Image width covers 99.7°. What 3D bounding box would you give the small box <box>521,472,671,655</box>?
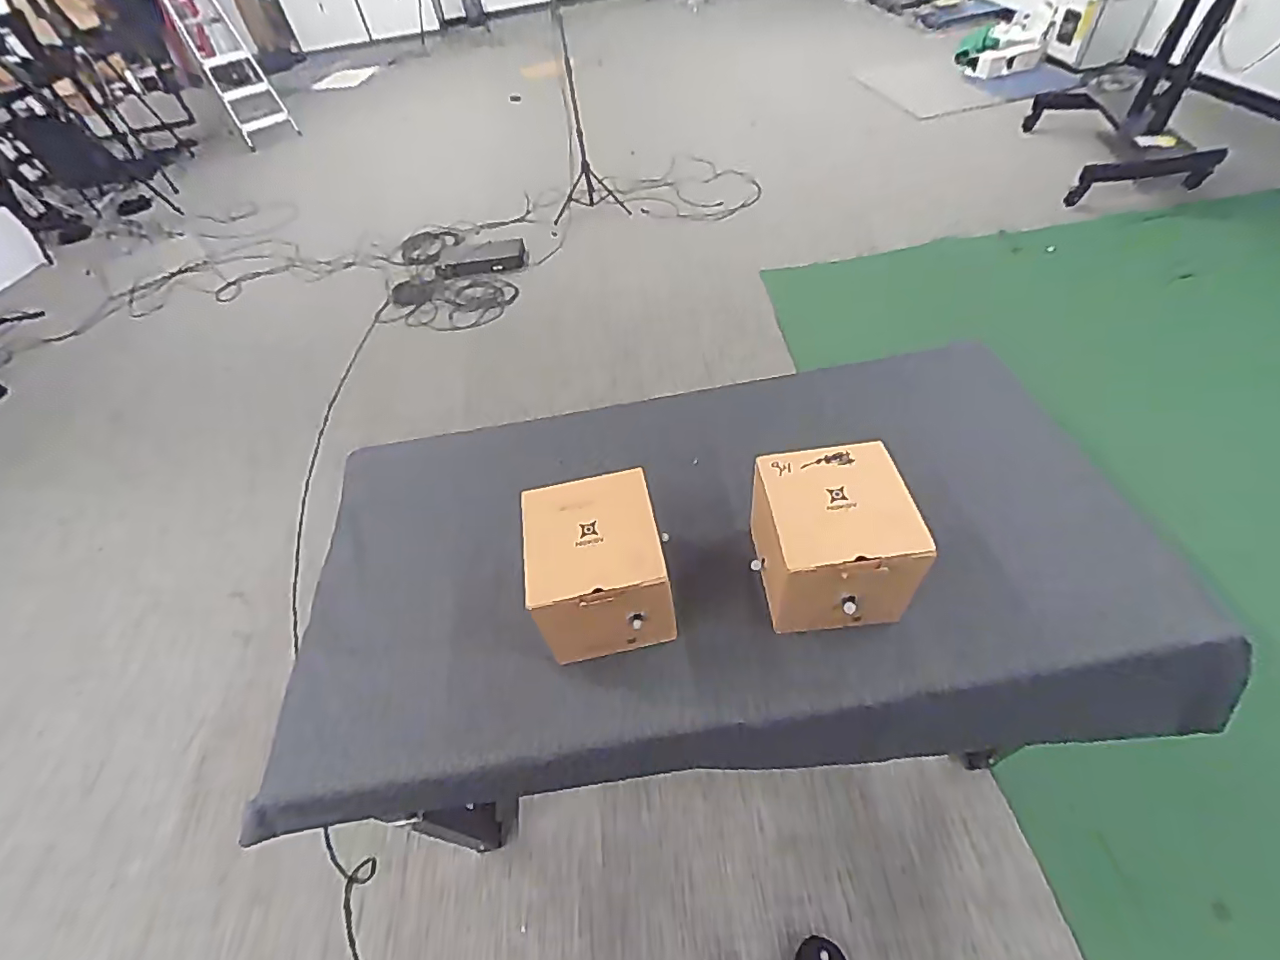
[{"bbox_3d":[-0.057,0.120,0.734,0.168,0.176,0.179,-12,49,-3],"label":"small box"}]

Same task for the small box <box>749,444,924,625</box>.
[{"bbox_3d":[0.243,0.080,0.718,0.168,0.176,0.179,-7,50,3],"label":"small box"}]
